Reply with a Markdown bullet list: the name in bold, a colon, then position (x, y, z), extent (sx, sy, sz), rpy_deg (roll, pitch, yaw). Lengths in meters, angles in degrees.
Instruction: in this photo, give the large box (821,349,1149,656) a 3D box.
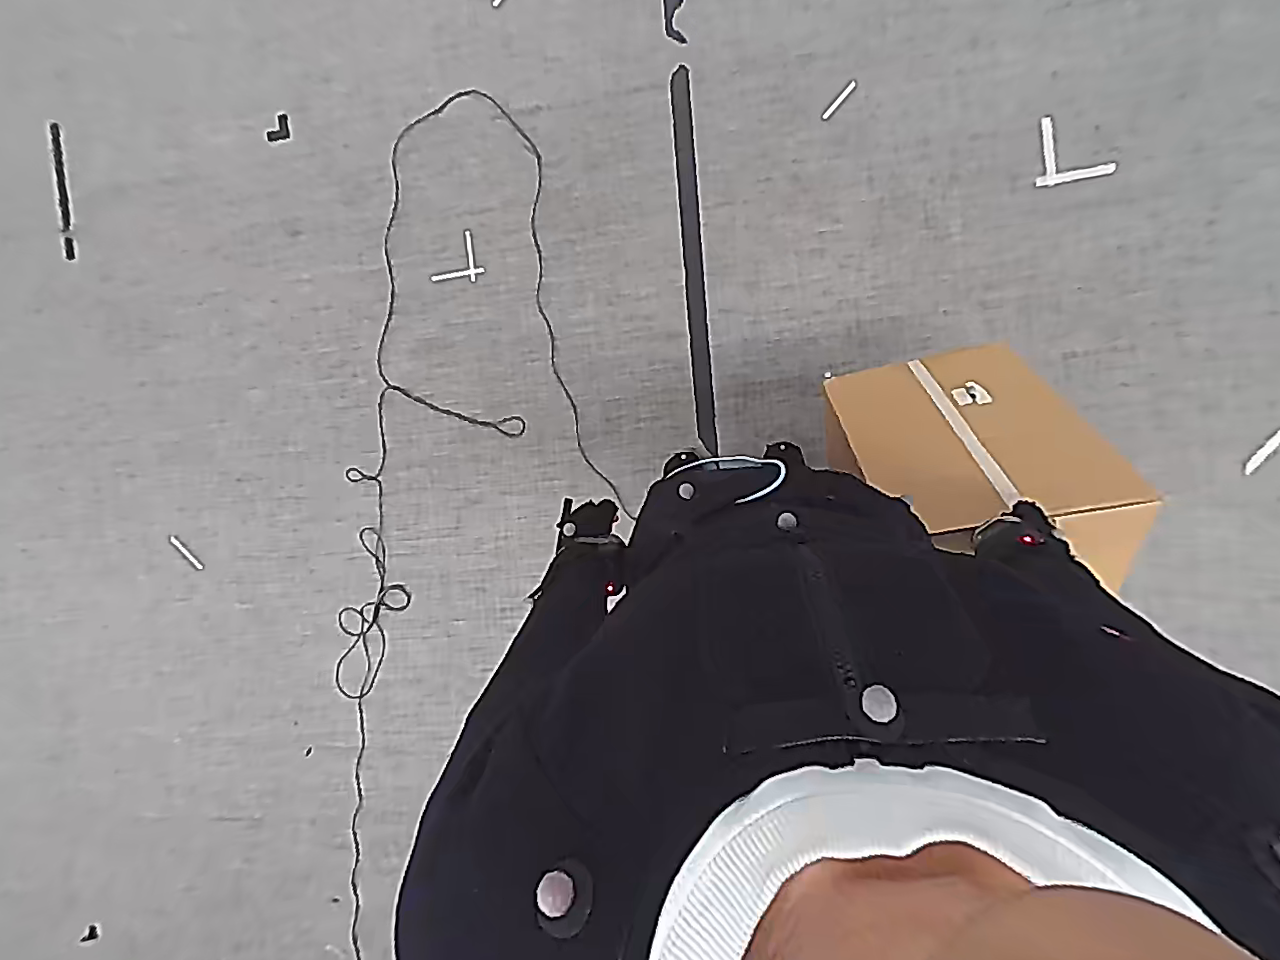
- **large box**: position (0.526, 0.032, 0.935), extent (0.320, 0.408, 0.320), rpy_deg (-10, 129, 9)
